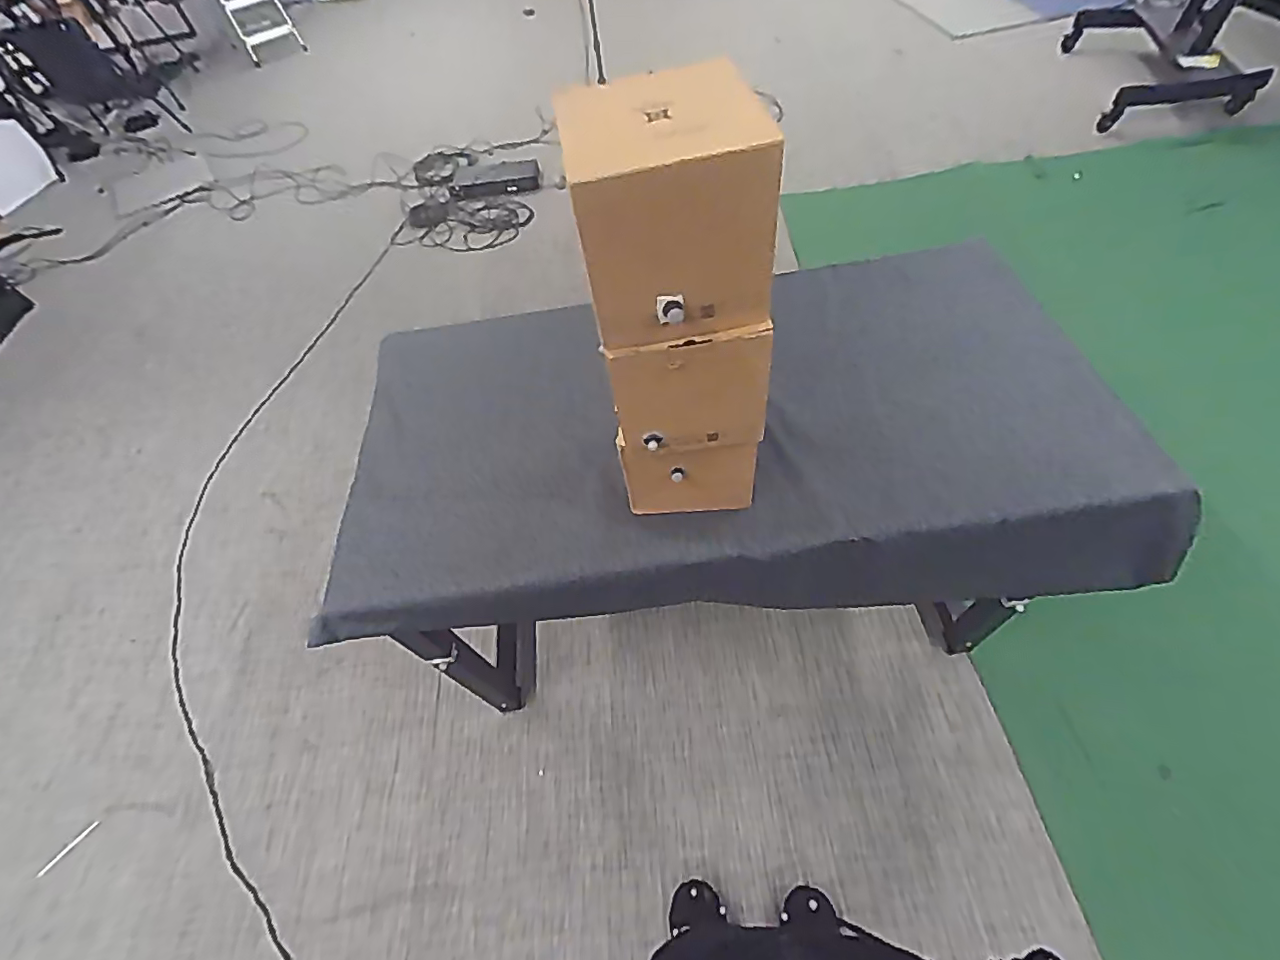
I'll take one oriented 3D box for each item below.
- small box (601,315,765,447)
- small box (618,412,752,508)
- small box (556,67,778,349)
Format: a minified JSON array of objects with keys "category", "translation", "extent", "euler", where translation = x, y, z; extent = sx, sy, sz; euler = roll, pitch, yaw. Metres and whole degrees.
[{"category":"small box","translation":[0.045,-0.155,0.646],"extent":[0.168,0.176,0.179],"euler":[-11,56,1]},{"category":"small box","translation":[0.065,-0.072,0.790],"extent":[0.179,0.176,0.168],"euler":[-5,53,3]},{"category":"small box","translation":[0.022,-0.256,0.521],"extent":[0.168,0.176,0.179],"euler":[-12,55,1]}]
